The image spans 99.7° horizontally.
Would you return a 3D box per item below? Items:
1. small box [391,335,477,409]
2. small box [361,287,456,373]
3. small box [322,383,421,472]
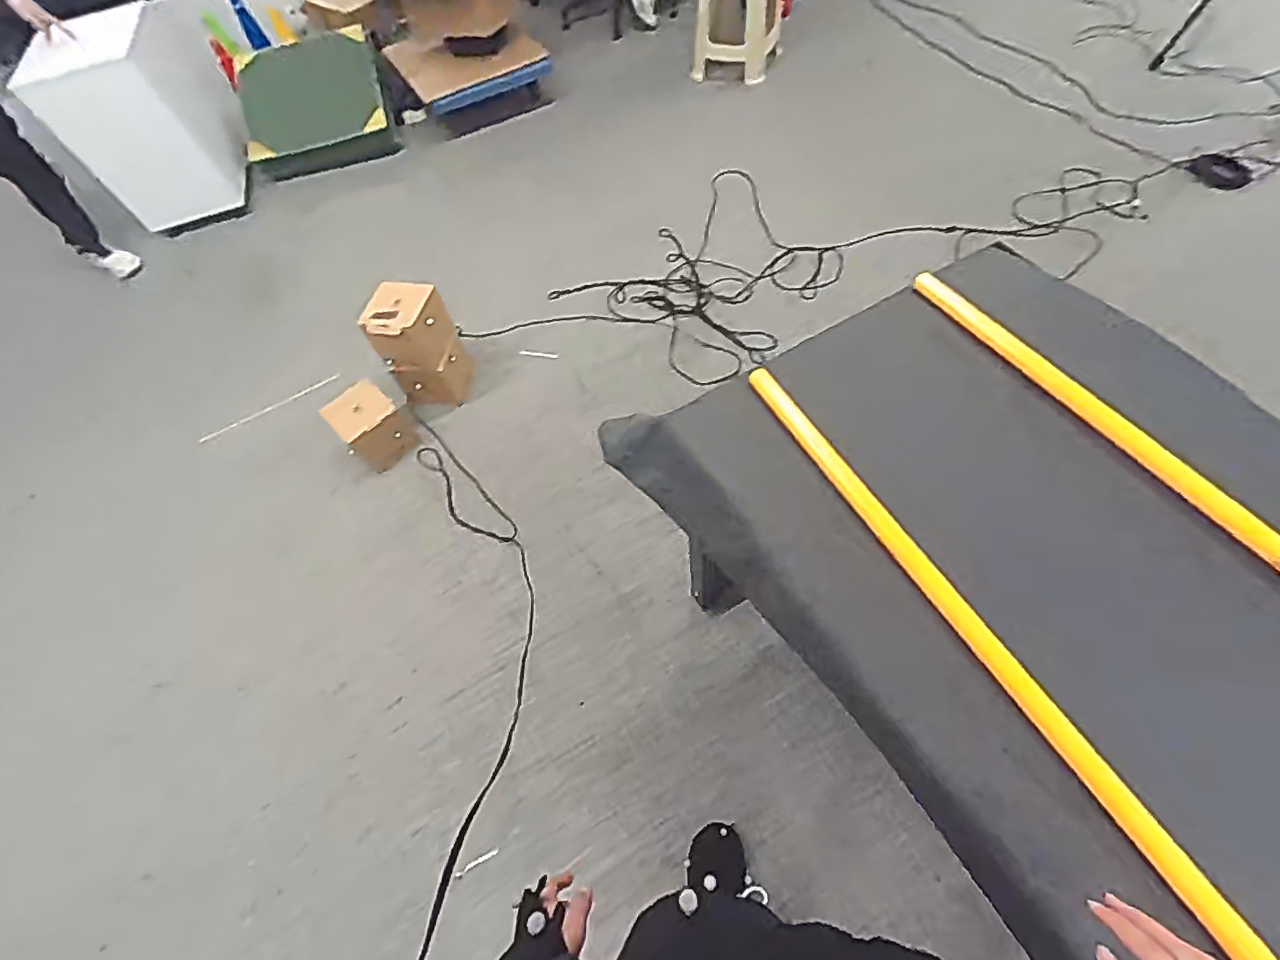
[{"bbox_3d":[-0.645,-0.339,1.709,0.179,0.176,0.168,2,60,7],"label":"small box"},{"bbox_3d":[-0.662,-0.432,1.573,0.168,0.176,0.179,7,60,9],"label":"small box"},{"bbox_3d":[-0.794,-0.148,1.618,0.179,0.176,0.168,38,70,25],"label":"small box"}]
